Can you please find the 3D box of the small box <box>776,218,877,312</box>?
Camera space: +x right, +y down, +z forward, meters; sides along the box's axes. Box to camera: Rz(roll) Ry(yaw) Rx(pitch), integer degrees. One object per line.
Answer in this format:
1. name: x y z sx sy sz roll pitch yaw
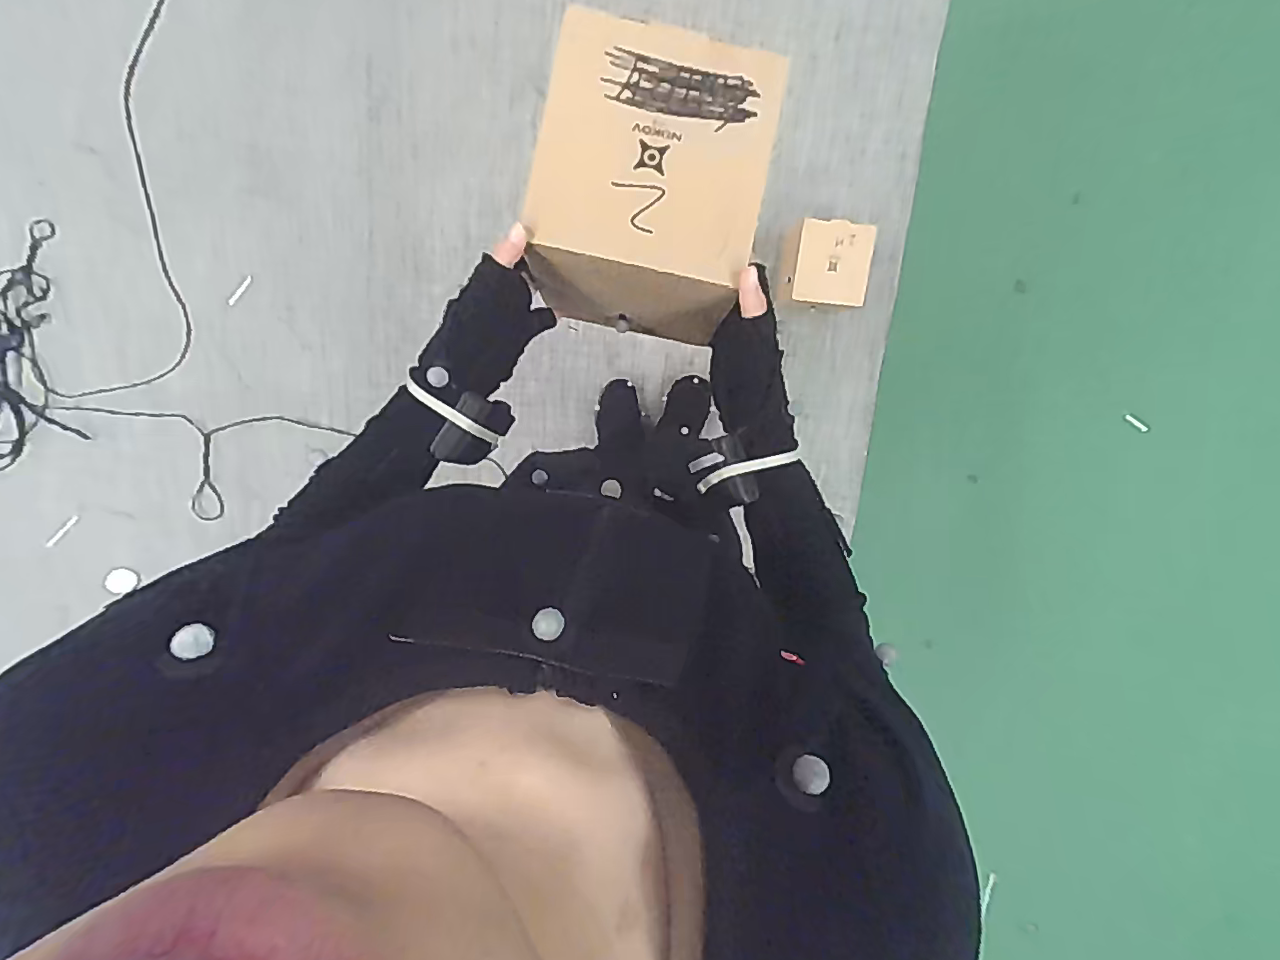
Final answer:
1. small box: 0.429 -0.497 1.274 0.168 0.176 0.179 6 103 -2
